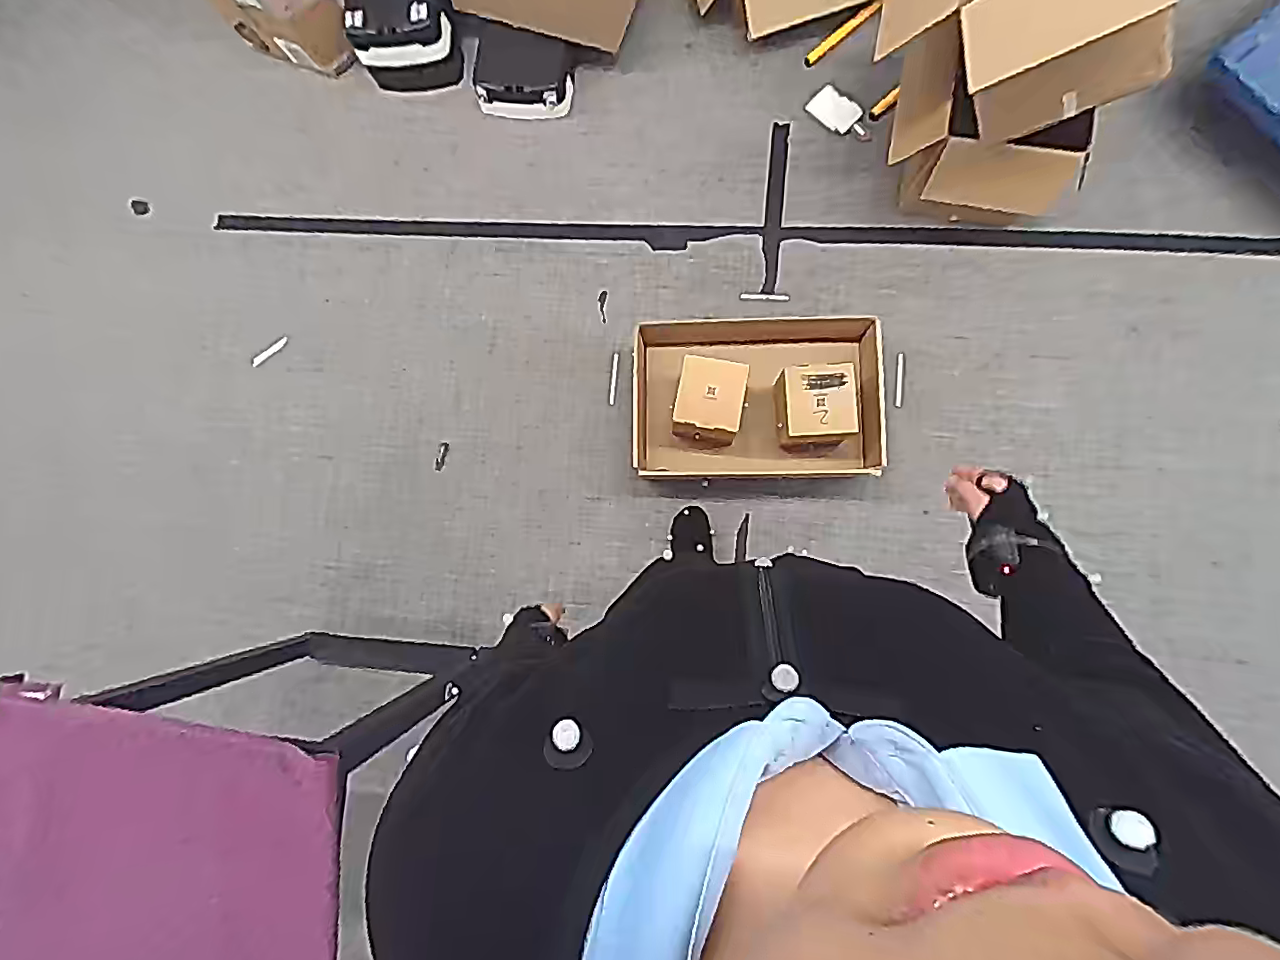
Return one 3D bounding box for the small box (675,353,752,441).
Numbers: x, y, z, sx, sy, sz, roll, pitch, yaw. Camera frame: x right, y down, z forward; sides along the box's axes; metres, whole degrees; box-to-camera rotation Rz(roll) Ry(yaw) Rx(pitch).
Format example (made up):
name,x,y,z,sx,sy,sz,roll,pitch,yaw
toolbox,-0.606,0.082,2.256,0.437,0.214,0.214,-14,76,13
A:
name,x,y,z,sx,sy,sz,roll,pitch,yaw
small box,0.185,-0.210,1.410,0.168,0.176,0.179,10,86,5
